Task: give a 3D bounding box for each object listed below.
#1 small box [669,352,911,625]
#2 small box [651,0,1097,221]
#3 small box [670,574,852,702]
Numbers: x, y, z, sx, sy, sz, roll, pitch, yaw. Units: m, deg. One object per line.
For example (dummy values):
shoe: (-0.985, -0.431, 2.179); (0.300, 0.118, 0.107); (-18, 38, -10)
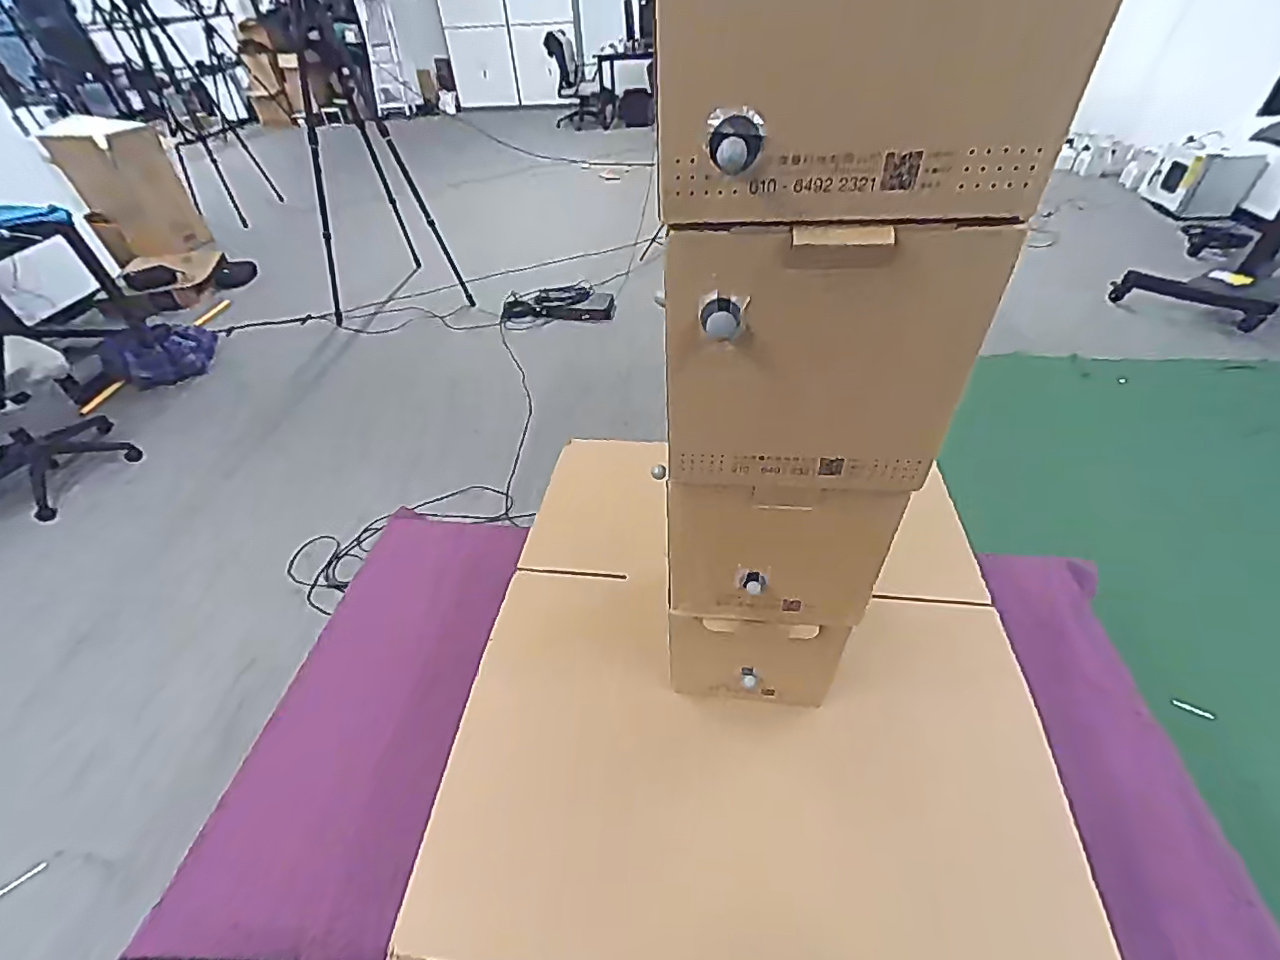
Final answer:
small box: (0.113, 0.004, 0.483); (0.168, 0.176, 0.179); (2, 44, 6)
small box: (0.094, -0.232, 0.253); (0.168, 0.176, 0.179); (2, 42, 6)
small box: (0.123, 0.118, 0.599); (0.168, 0.176, 0.179); (3, 44, 8)
